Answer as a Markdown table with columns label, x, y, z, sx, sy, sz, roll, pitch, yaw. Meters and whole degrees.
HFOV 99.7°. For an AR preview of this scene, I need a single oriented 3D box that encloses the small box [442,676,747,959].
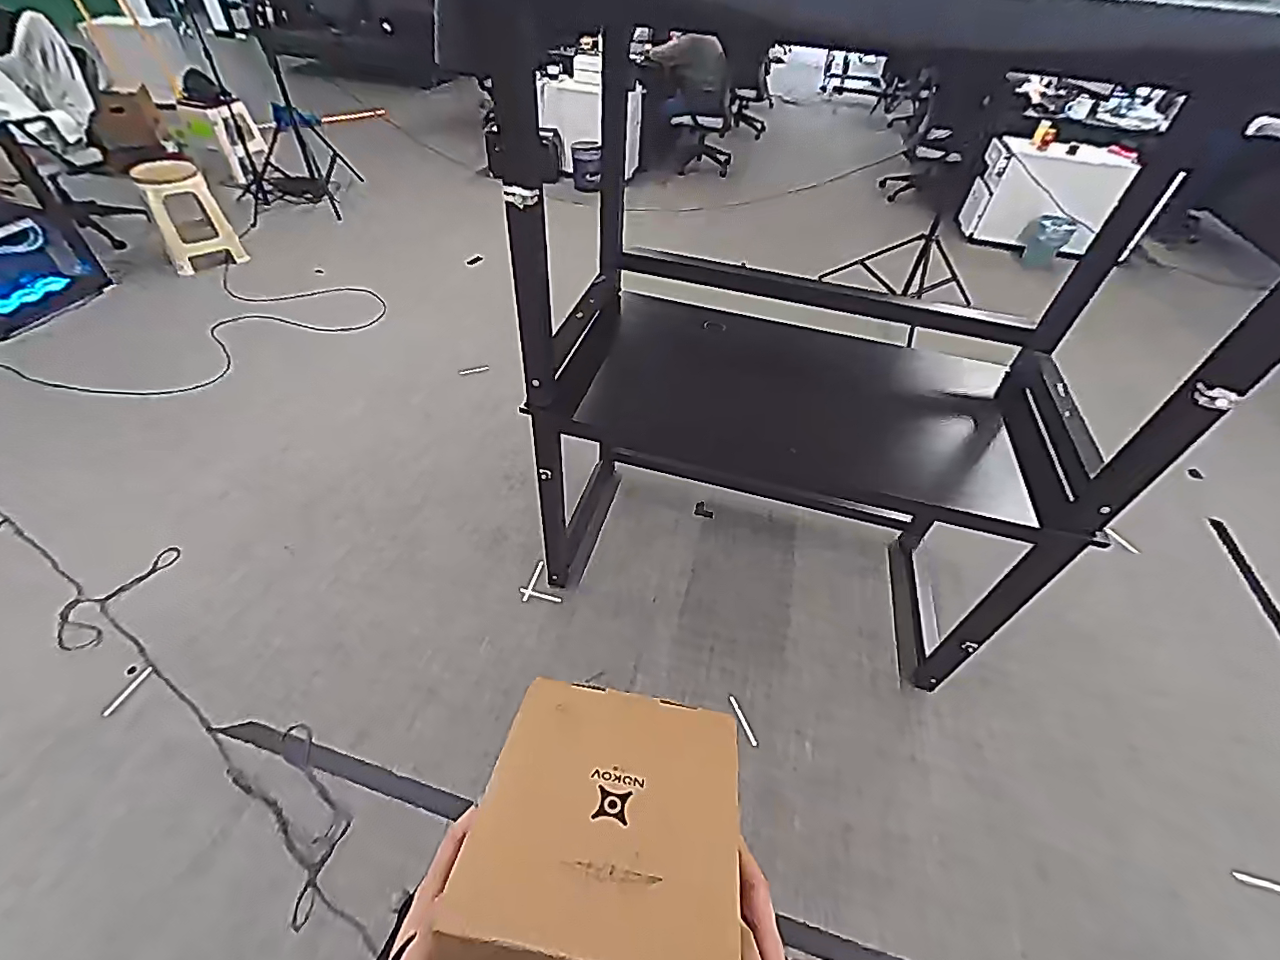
| label | x | y | z | sx | sy | sz | roll | pitch | yaw |
| --- | --- | --- | --- | --- | --- | --- | --- | --- | --- |
| small box | -0.023 | 0.278 | 0.386 | 0.168 | 0.176 | 0.179 | 9 | 28 | 4 |
